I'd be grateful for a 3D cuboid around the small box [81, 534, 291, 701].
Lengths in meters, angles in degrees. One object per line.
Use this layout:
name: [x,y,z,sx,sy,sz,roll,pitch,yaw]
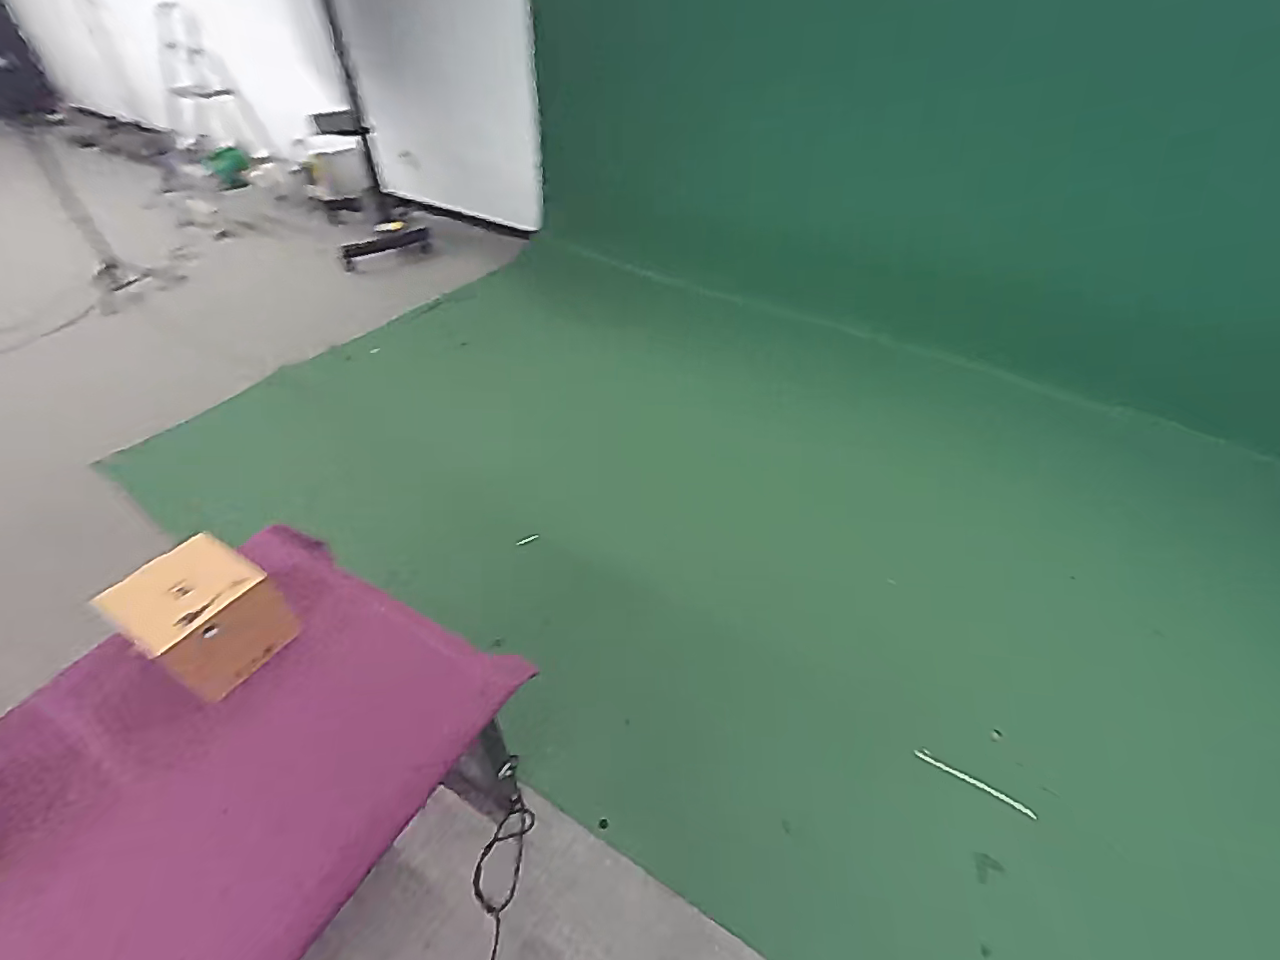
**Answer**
small box: [-0.725,0.227,0.883,0.179,0.176,0.168,25,49,18]
